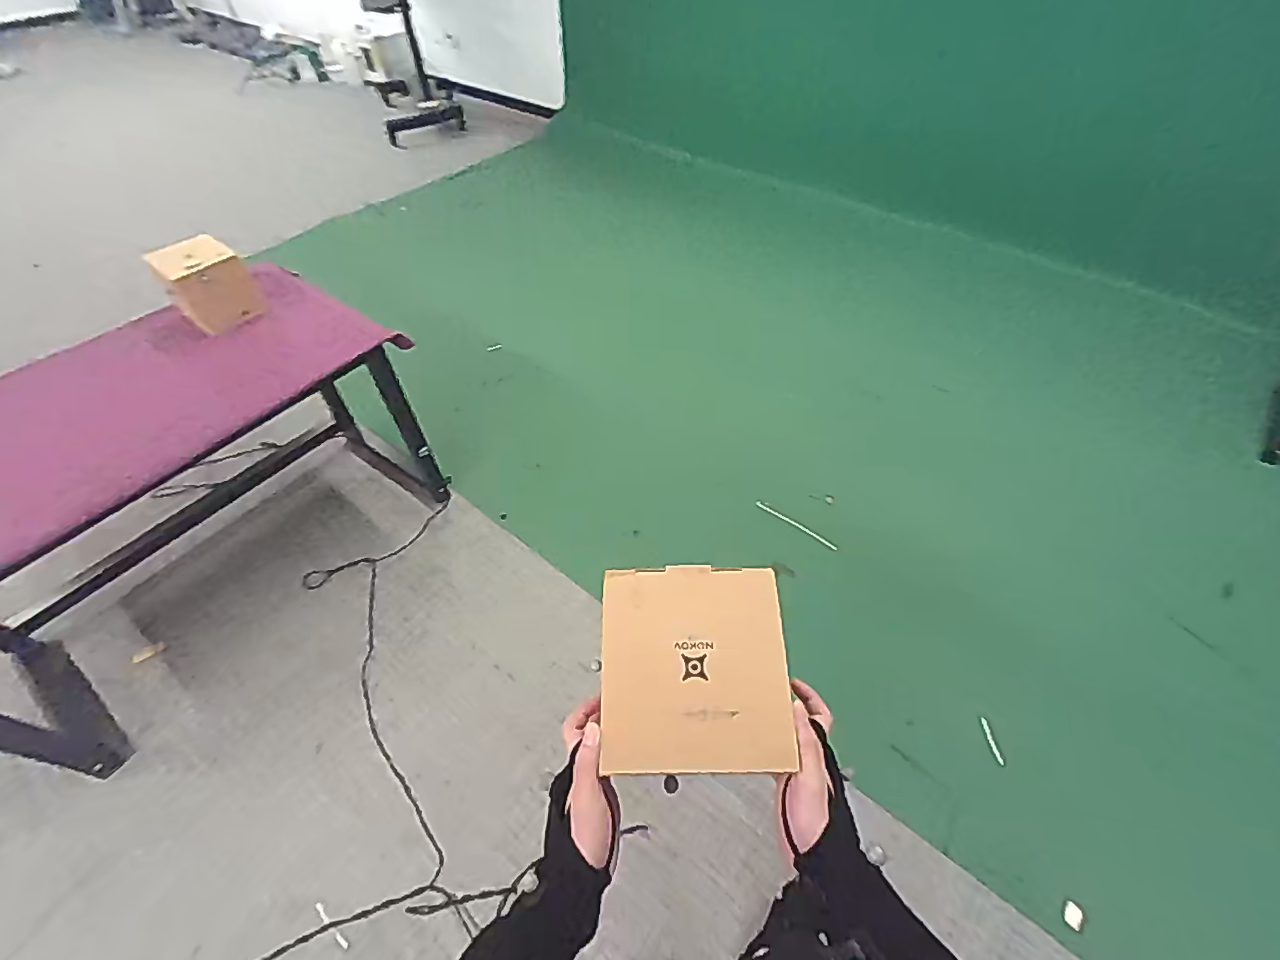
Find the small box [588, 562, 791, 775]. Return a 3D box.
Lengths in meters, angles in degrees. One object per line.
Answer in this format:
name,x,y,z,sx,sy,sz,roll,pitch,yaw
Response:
small box,0.039,0.194,0.540,0.168,0.176,0.179,-1,62,0

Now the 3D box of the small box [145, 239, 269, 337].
small box,-1.153,-0.512,1.450,0.179,0.176,0.168,31,58,24
